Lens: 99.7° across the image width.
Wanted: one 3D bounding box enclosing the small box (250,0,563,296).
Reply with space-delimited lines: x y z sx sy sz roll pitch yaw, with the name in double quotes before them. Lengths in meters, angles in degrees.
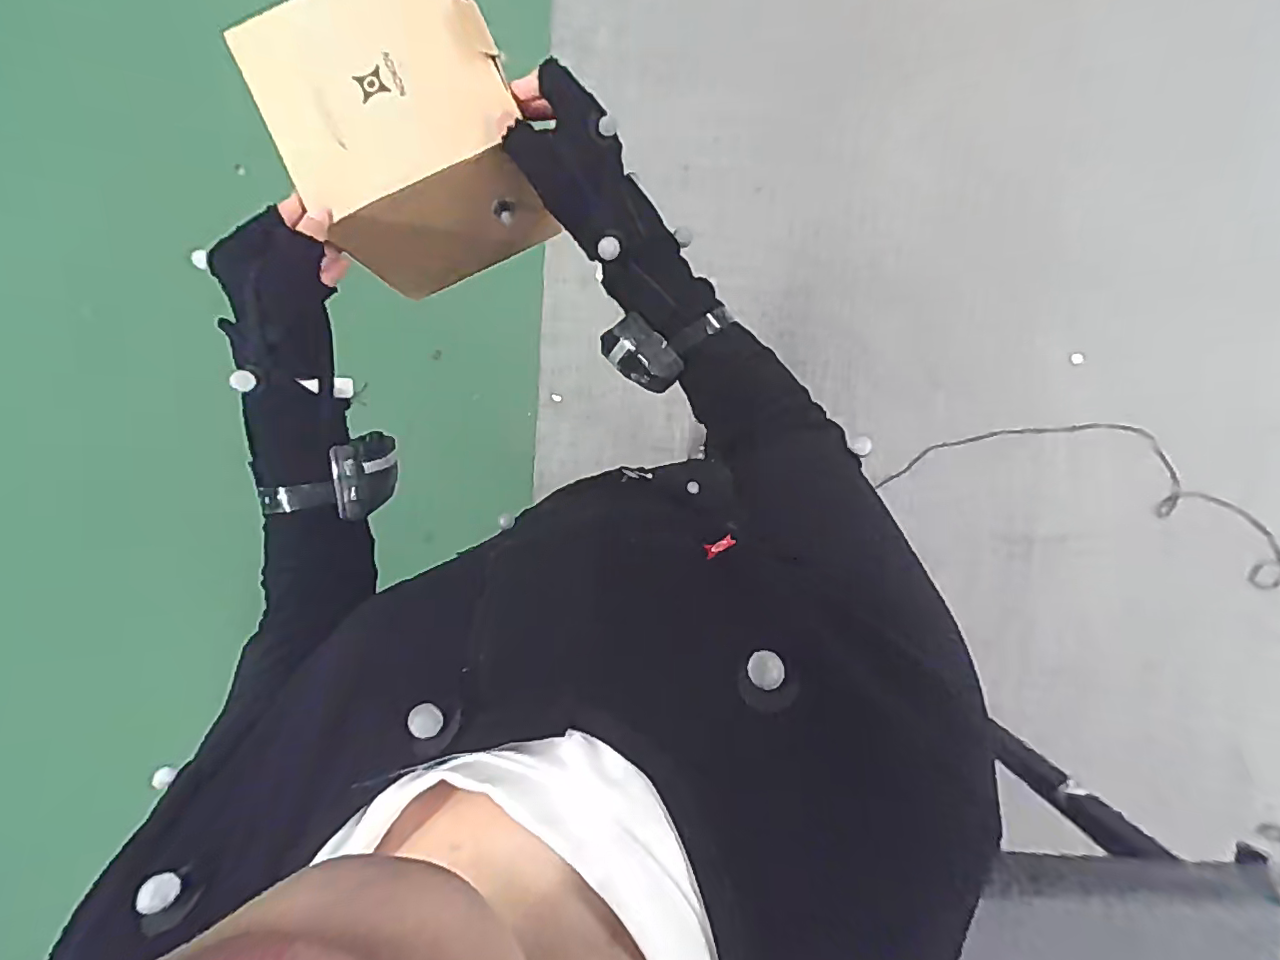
"small box" -0.181 -0.296 0.484 0.179 0.176 0.168 -25 88 3
